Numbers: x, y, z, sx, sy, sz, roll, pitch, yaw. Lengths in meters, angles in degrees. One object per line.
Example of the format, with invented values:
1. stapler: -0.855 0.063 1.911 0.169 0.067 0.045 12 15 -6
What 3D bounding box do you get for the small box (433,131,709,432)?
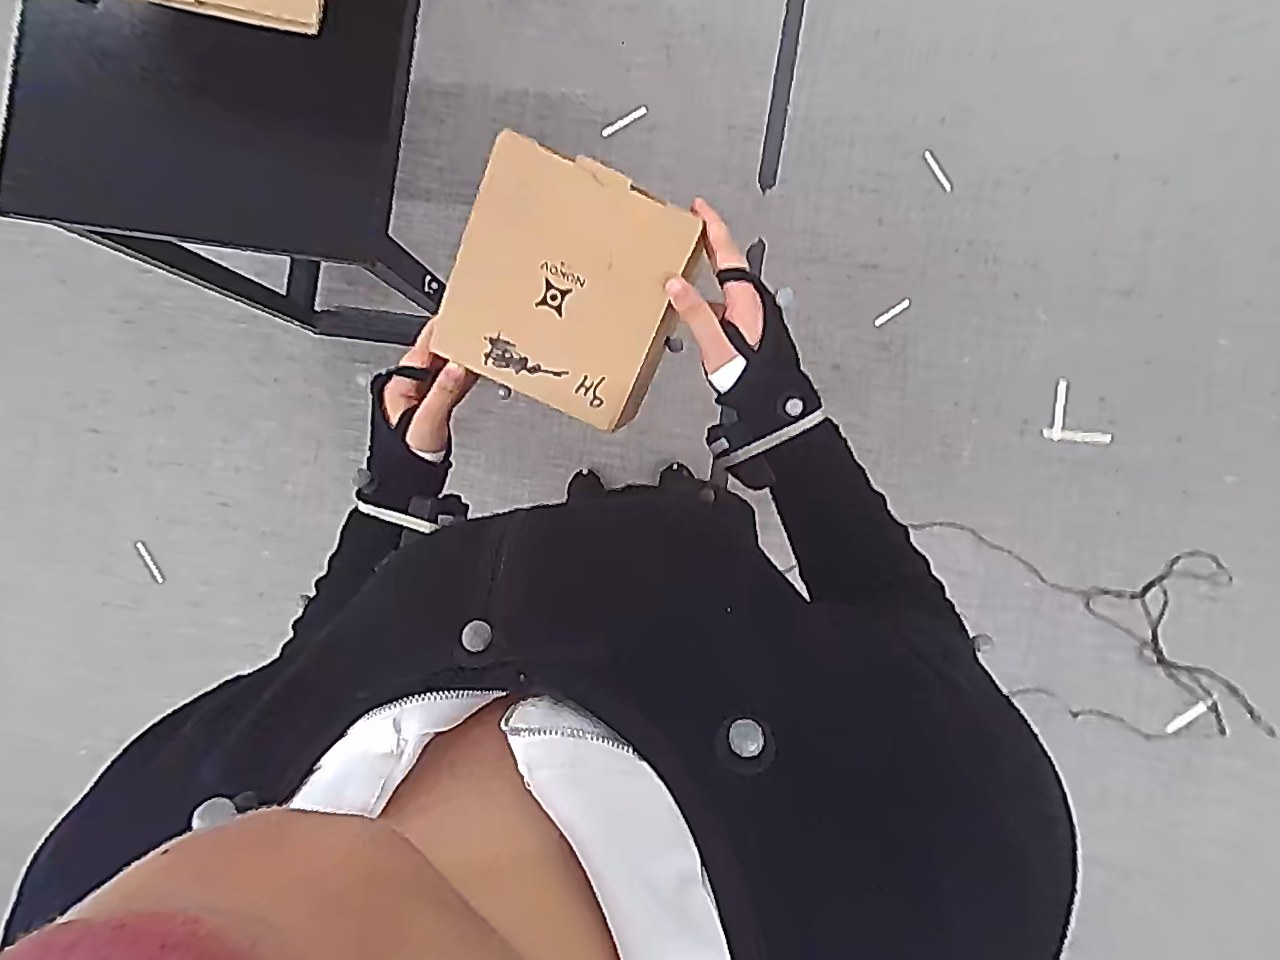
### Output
1. small box: -0.050 -0.162 0.492 0.168 0.176 0.179 25 102 2
